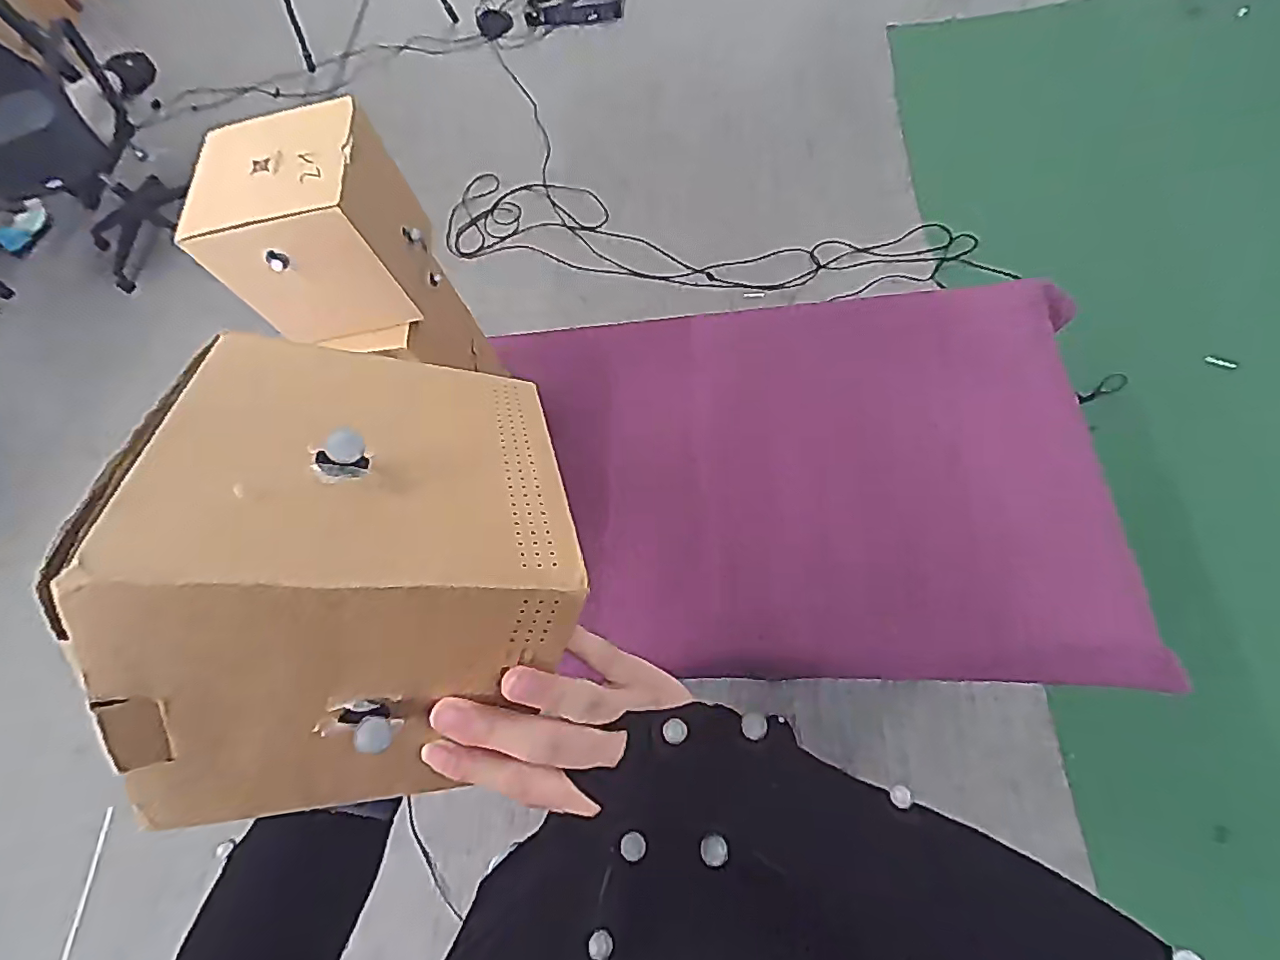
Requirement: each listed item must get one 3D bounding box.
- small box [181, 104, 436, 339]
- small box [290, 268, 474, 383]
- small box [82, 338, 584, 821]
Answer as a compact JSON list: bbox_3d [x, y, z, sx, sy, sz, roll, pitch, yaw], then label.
[{"bbox_3d":[-0.363,-0.285,0.628,0.179,0.176,0.168,-9,67,5],"label":"small box"},{"bbox_3d":[-0.350,-0.197,0.769,0.168,0.176,0.179,-6,66,6],"label":"small box"},{"bbox_3d":[-0.140,0.045,0.297,0.176,0.168,0.179,6,36,-26],"label":"small box"}]
